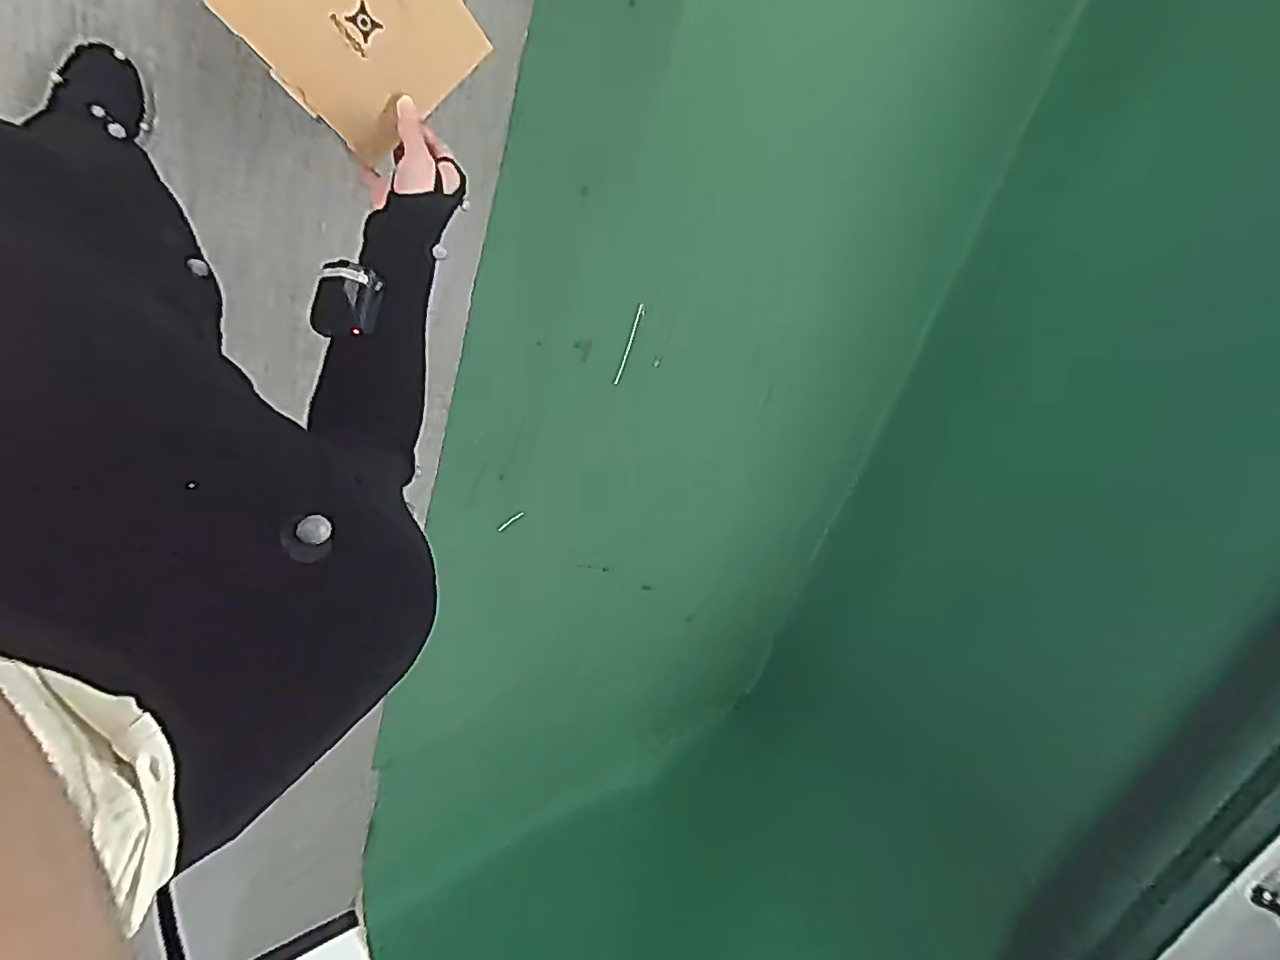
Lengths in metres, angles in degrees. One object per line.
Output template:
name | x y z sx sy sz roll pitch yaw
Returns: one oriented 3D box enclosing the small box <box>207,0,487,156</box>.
small box | -0.284 -0.464 0.522 0.179 0.176 0.168 -40 143 7
